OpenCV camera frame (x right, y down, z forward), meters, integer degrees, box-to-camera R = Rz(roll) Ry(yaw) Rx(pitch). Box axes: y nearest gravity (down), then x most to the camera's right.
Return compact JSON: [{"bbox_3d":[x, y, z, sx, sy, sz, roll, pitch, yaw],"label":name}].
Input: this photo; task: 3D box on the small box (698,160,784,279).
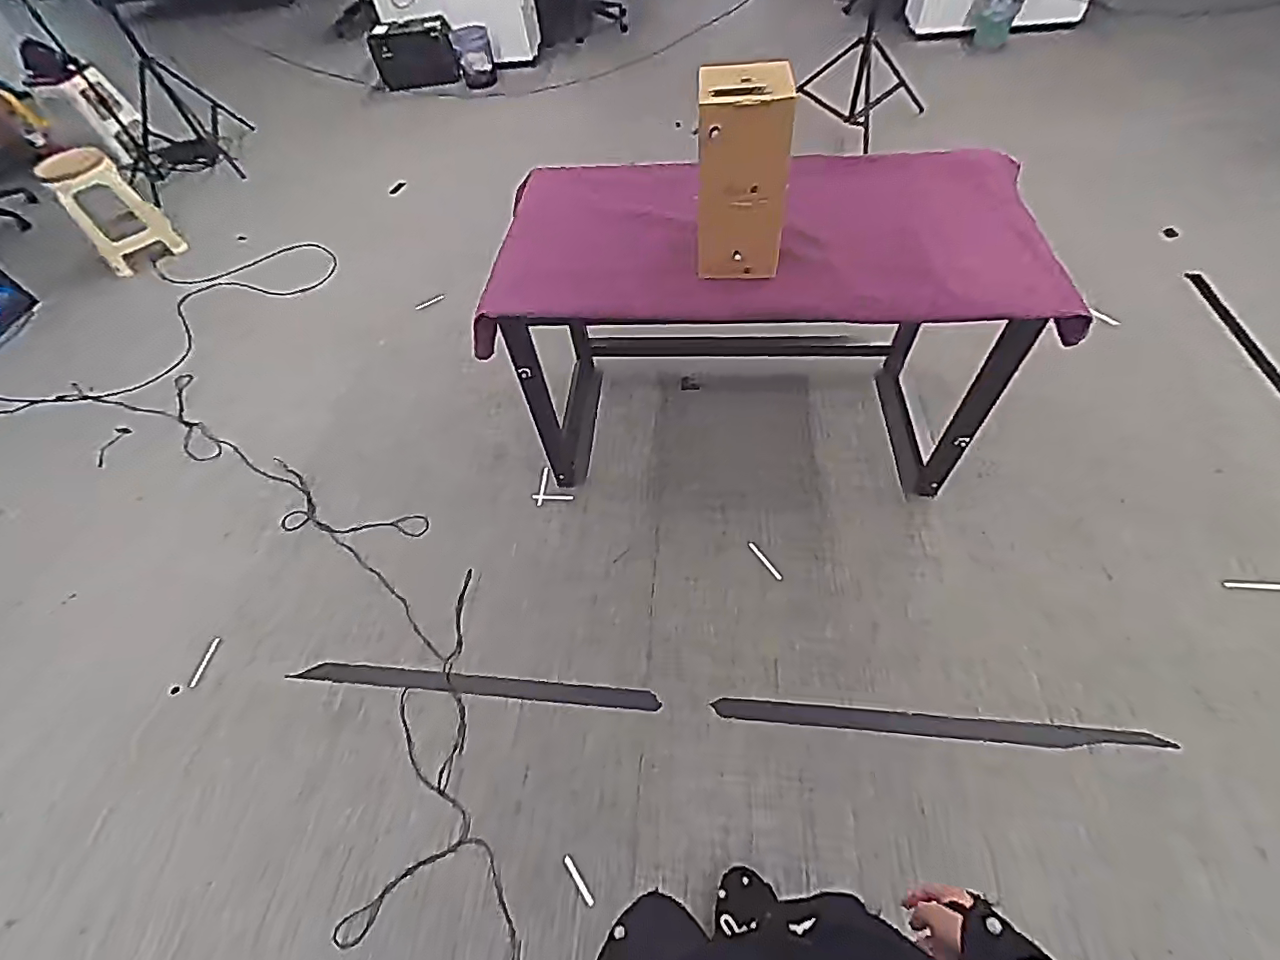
[{"bbox_3d":[0.211,-0.554,1.151,0.168,0.176,0.179,3,55,9],"label":"small box"}]
